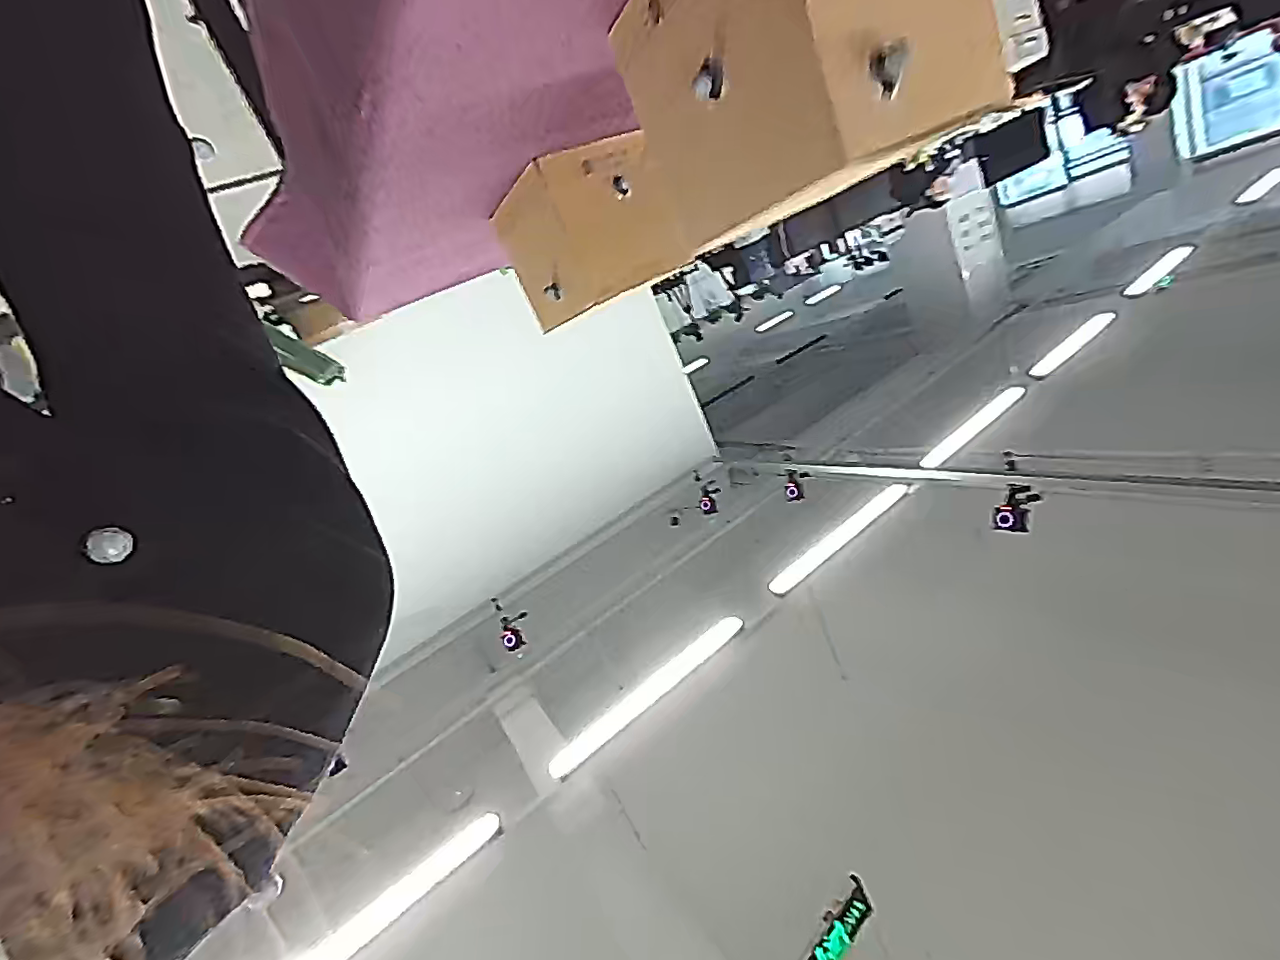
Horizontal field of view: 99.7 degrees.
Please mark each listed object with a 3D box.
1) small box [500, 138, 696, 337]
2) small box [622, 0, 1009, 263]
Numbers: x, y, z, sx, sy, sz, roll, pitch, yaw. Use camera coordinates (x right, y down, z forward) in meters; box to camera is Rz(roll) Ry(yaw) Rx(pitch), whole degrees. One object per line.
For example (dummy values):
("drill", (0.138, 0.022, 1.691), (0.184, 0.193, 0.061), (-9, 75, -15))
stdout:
("small box", (-0.062, -0.312, 0.713), (0.168, 0.176, 0.179), (-33, -162, -26))
("small box", (0.114, -0.286, 0.383), (0.179, 0.176, 0.168), (-32, -162, -22))
